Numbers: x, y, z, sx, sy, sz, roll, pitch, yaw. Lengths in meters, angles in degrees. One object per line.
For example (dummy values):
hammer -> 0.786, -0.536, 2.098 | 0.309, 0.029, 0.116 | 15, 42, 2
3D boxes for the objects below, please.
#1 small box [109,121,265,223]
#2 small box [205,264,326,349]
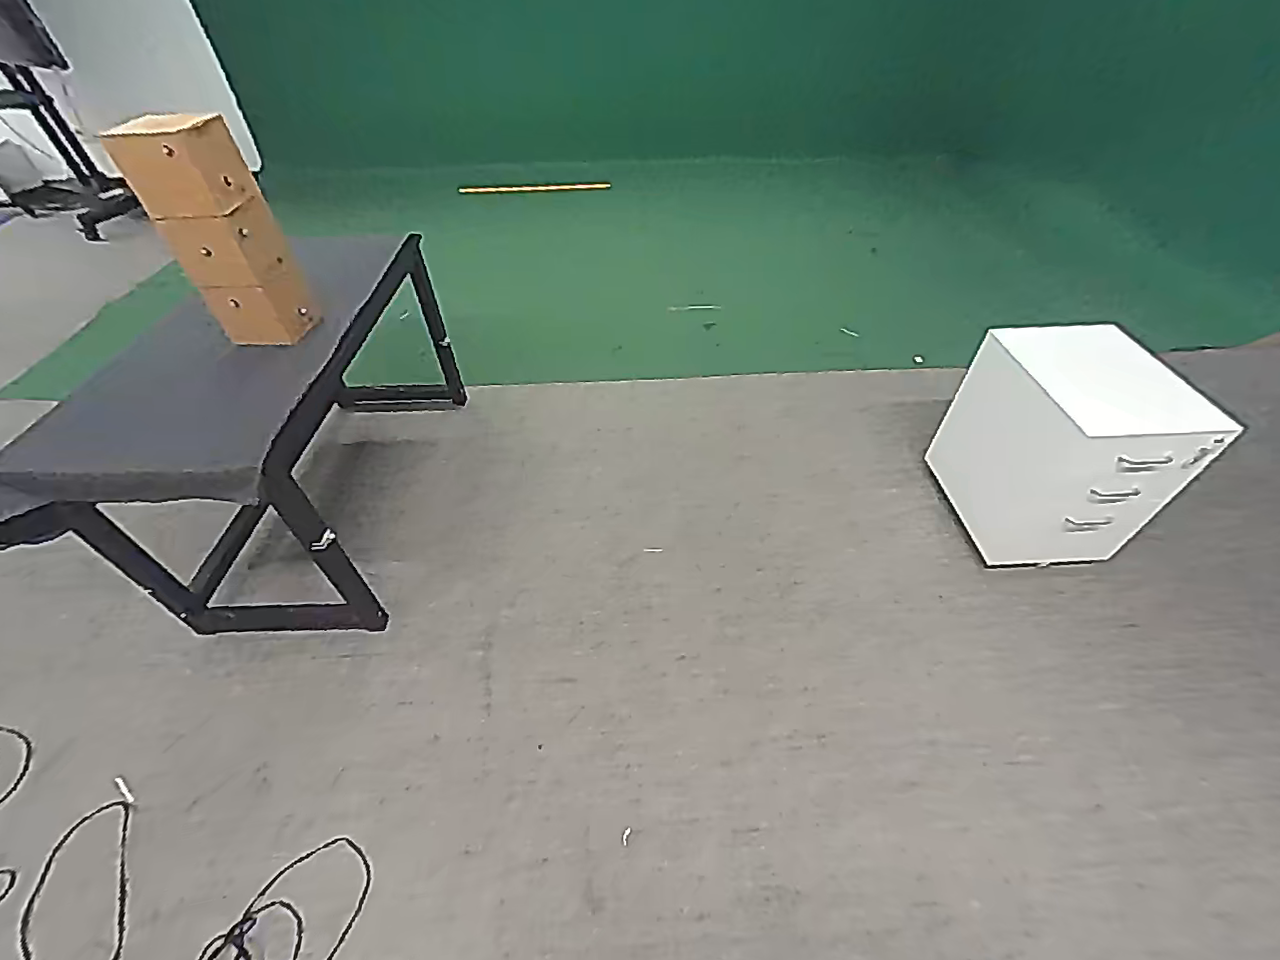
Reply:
small box -> -1.014, -0.698, 1.230 | 0.179, 0.176, 0.168 | -2, 45, 1
small box -> -1.001, -0.469, 1.462 | 0.179, 0.176, 0.168 | 2, 45, 4
